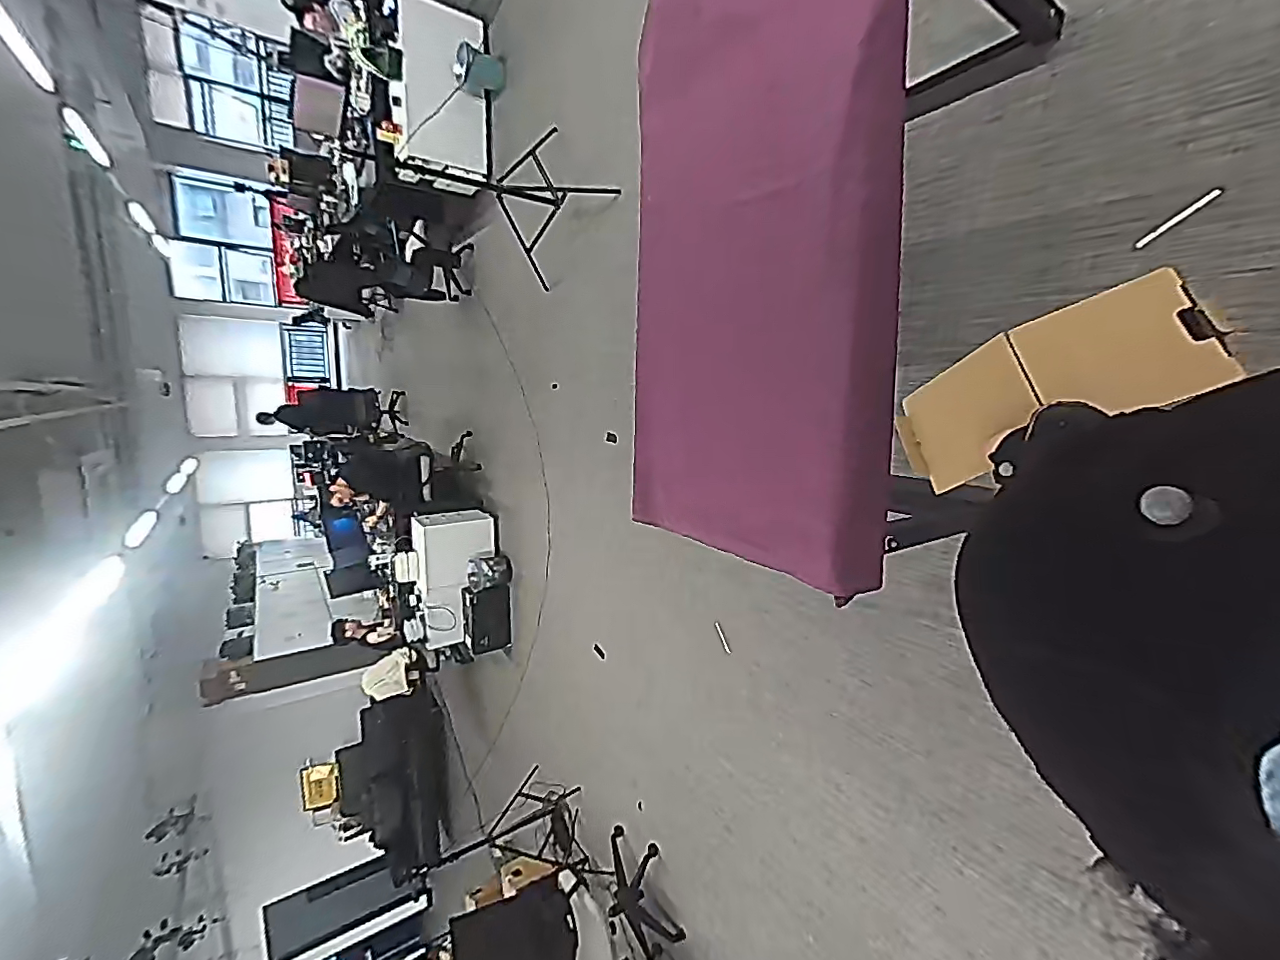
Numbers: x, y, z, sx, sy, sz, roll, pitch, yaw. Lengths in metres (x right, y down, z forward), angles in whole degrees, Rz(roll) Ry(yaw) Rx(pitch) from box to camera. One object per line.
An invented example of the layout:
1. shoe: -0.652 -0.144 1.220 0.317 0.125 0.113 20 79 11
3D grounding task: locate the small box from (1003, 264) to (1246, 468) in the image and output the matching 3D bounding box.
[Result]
1. small box: 0.602 -0.131 0.699 0.179 0.176 0.168 -22 64 29
